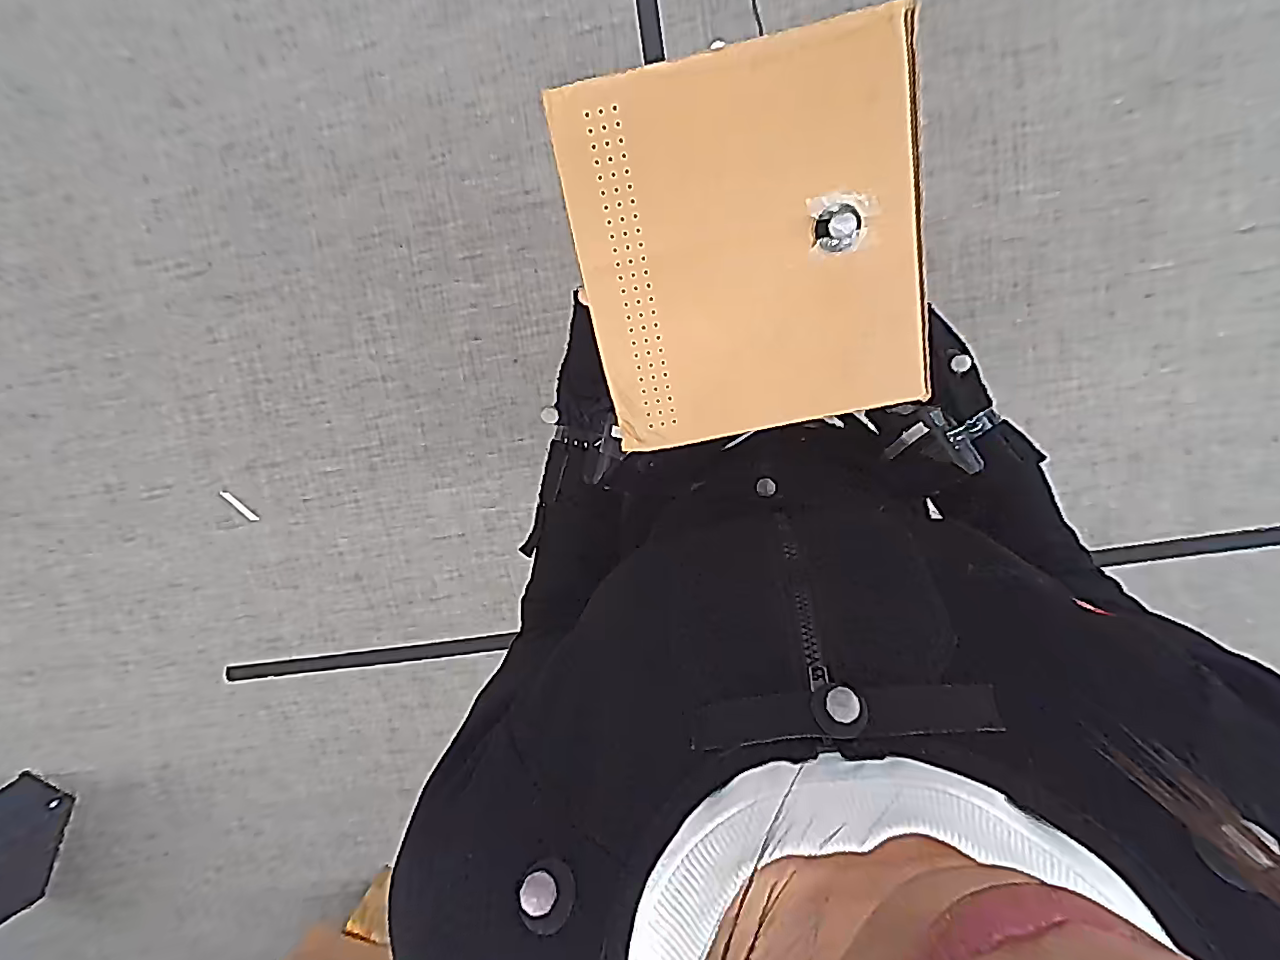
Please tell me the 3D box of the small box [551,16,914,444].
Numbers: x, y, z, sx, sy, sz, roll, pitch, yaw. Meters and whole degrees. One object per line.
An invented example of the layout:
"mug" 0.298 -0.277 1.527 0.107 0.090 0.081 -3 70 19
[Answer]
"small box" 0.051 -0.138 0.350 0.176 0.168 0.179 -11 109 6
